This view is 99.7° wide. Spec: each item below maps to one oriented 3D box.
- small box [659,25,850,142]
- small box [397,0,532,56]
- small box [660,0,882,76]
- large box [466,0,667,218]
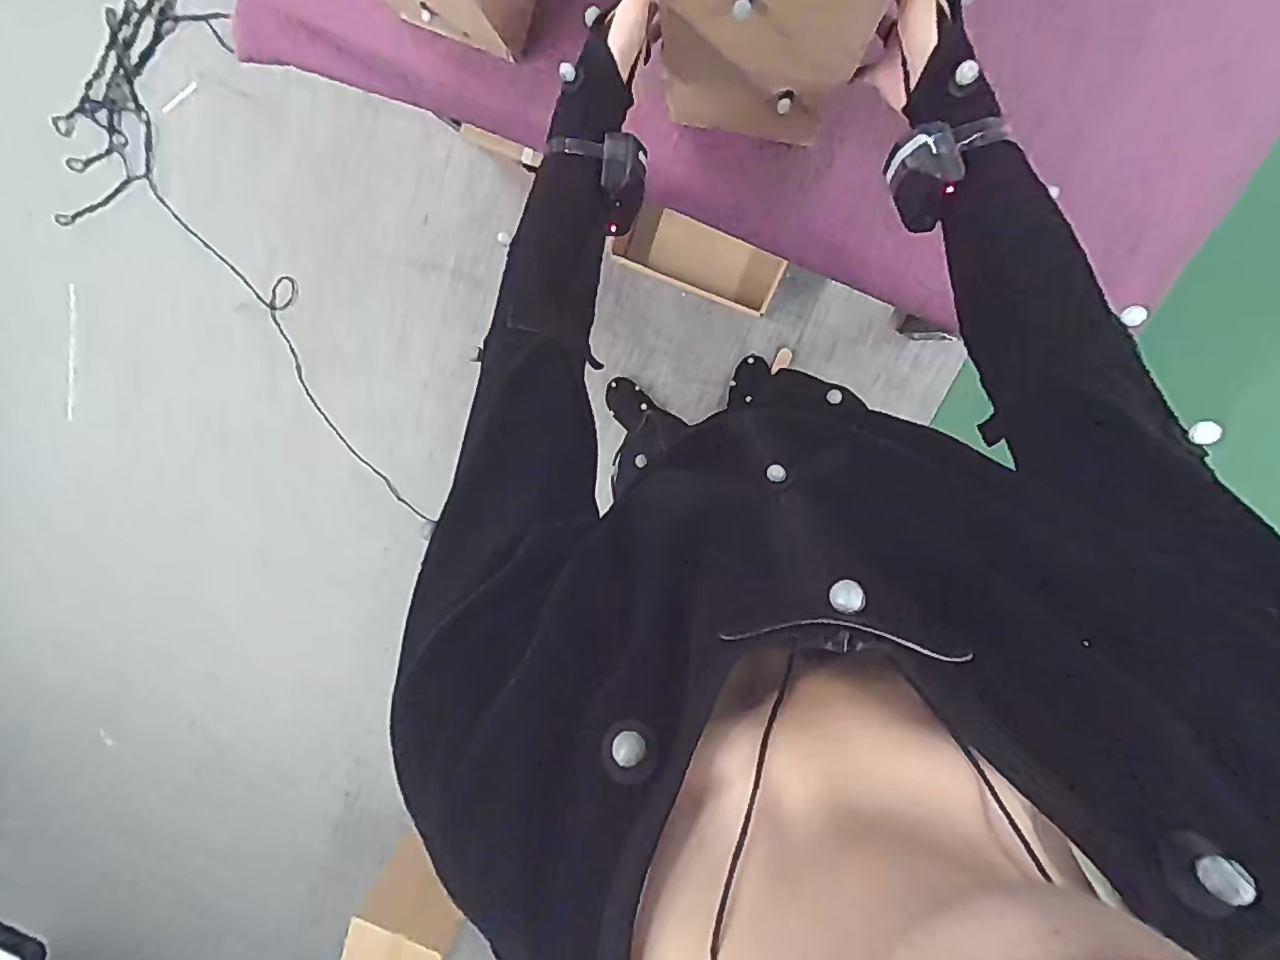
[{"bbox_3d":[0.128,-0.472,0.553,0.179,0.176,0.168,13,105,5],"label":"small box"},{"bbox_3d":[-0.208,-0.613,0.576,0.168,0.176,0.179,23,107,3],"label":"small box"},{"bbox_3d":[0.109,-0.433,0.395,0.179,0.176,0.168,13,106,6],"label":"small box"},{"bbox_3d":[-0.133,-0.862,1.192,0.320,0.320,0.408,23,108,3],"label":"large box"}]
